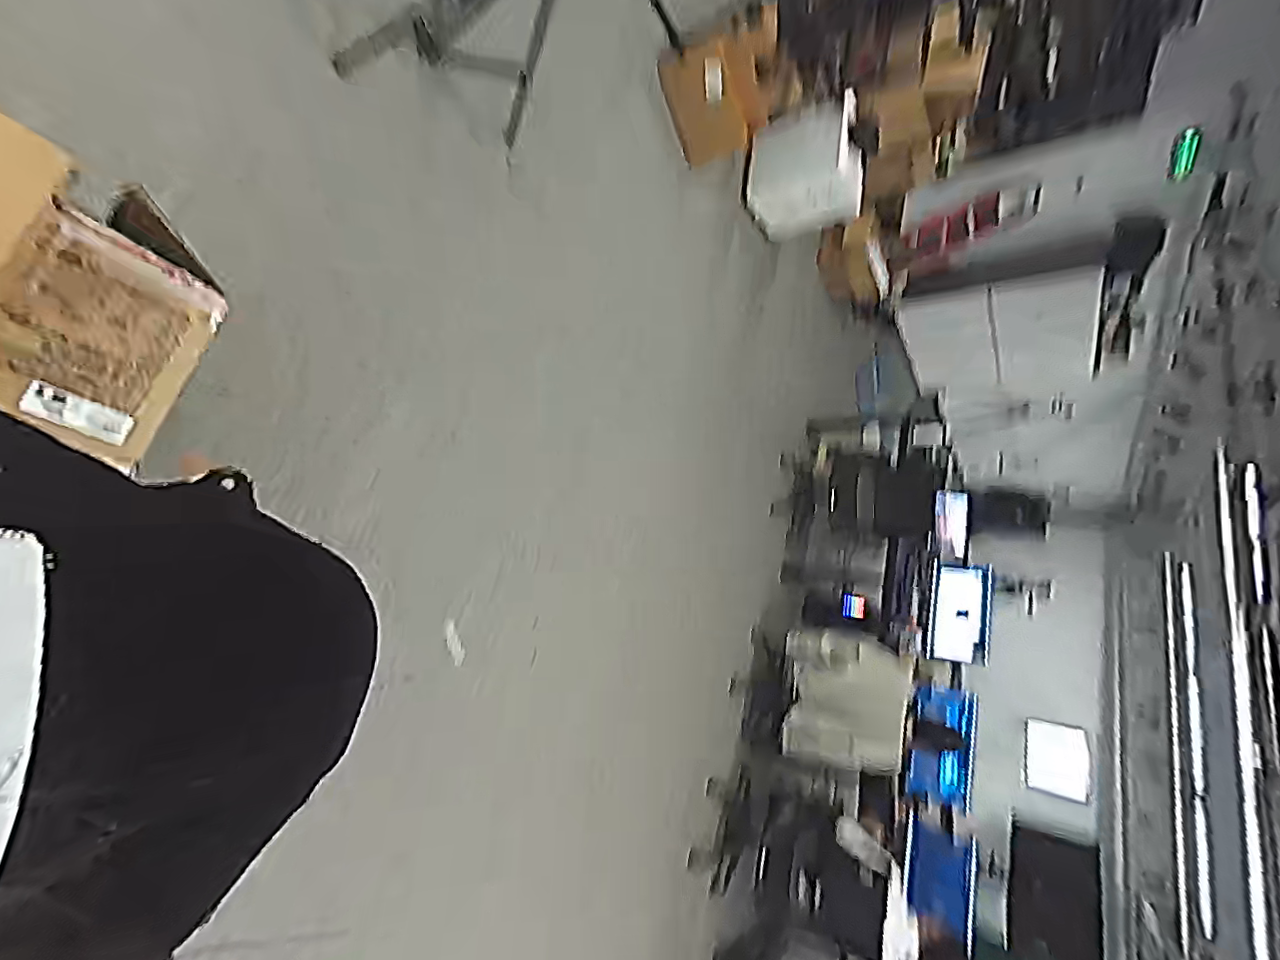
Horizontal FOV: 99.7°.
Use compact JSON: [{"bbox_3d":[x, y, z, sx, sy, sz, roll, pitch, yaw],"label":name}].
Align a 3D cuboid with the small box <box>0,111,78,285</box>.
[{"bbox_3d":[-0.775,-0.324,0.587,0.168,0.176,0.179,35,67,-45],"label":"small box"}]
